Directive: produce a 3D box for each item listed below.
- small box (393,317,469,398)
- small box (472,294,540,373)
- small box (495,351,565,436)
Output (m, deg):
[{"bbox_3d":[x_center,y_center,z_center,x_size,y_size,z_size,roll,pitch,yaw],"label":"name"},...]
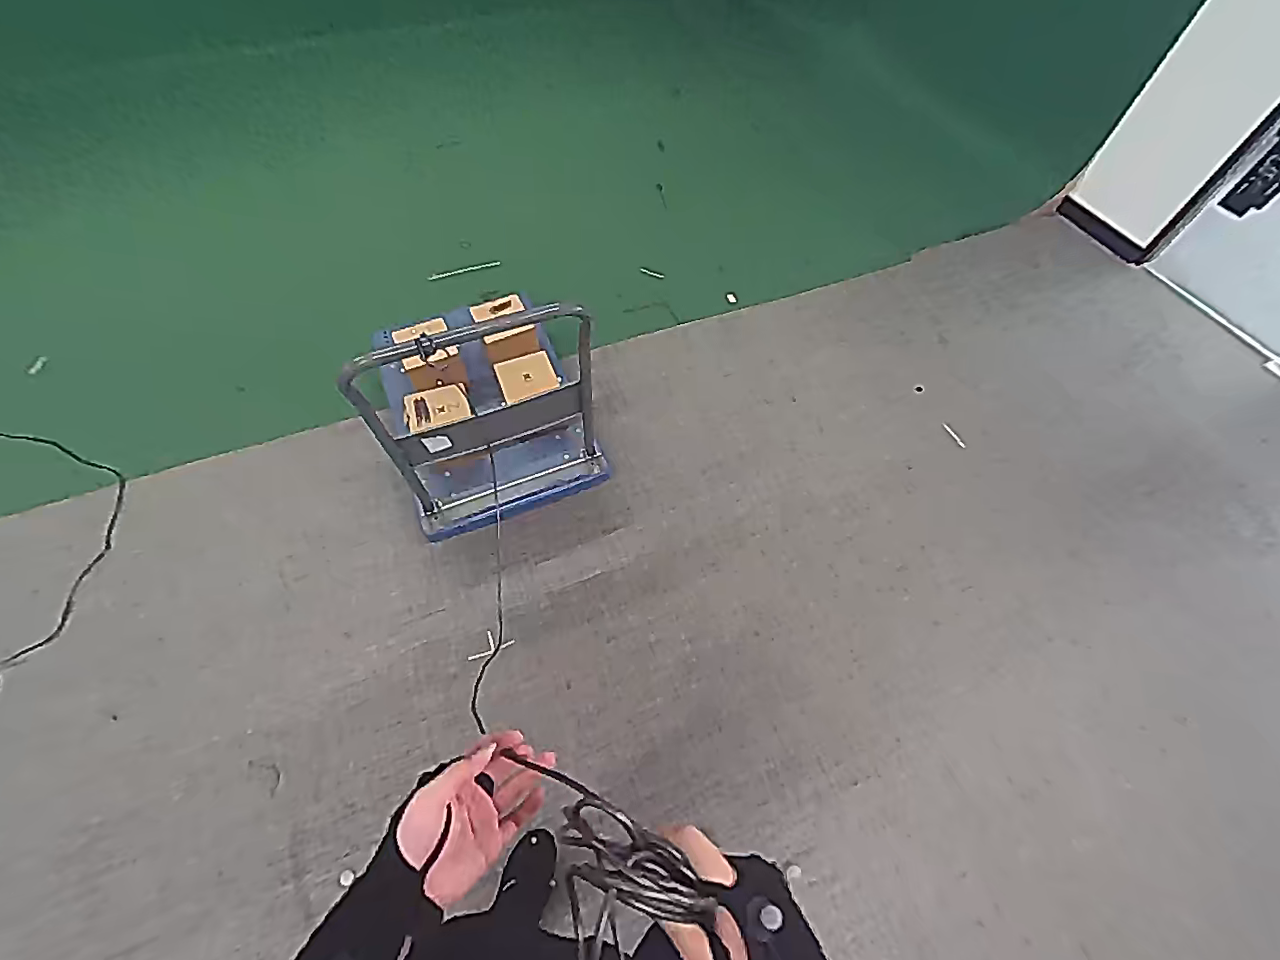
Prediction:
[{"bbox_3d":[-0.668,-0.388,1.746,0.168,0.176,0.179,-22,63,-15],"label":"small box"},{"bbox_3d":[-0.444,-0.484,1.809,0.168,0.176,0.179,-23,64,-14],"label":"small box"},{"bbox_3d":[-0.339,-0.268,1.686,0.168,0.176,0.179,-18,62,-12],"label":"small box"}]
